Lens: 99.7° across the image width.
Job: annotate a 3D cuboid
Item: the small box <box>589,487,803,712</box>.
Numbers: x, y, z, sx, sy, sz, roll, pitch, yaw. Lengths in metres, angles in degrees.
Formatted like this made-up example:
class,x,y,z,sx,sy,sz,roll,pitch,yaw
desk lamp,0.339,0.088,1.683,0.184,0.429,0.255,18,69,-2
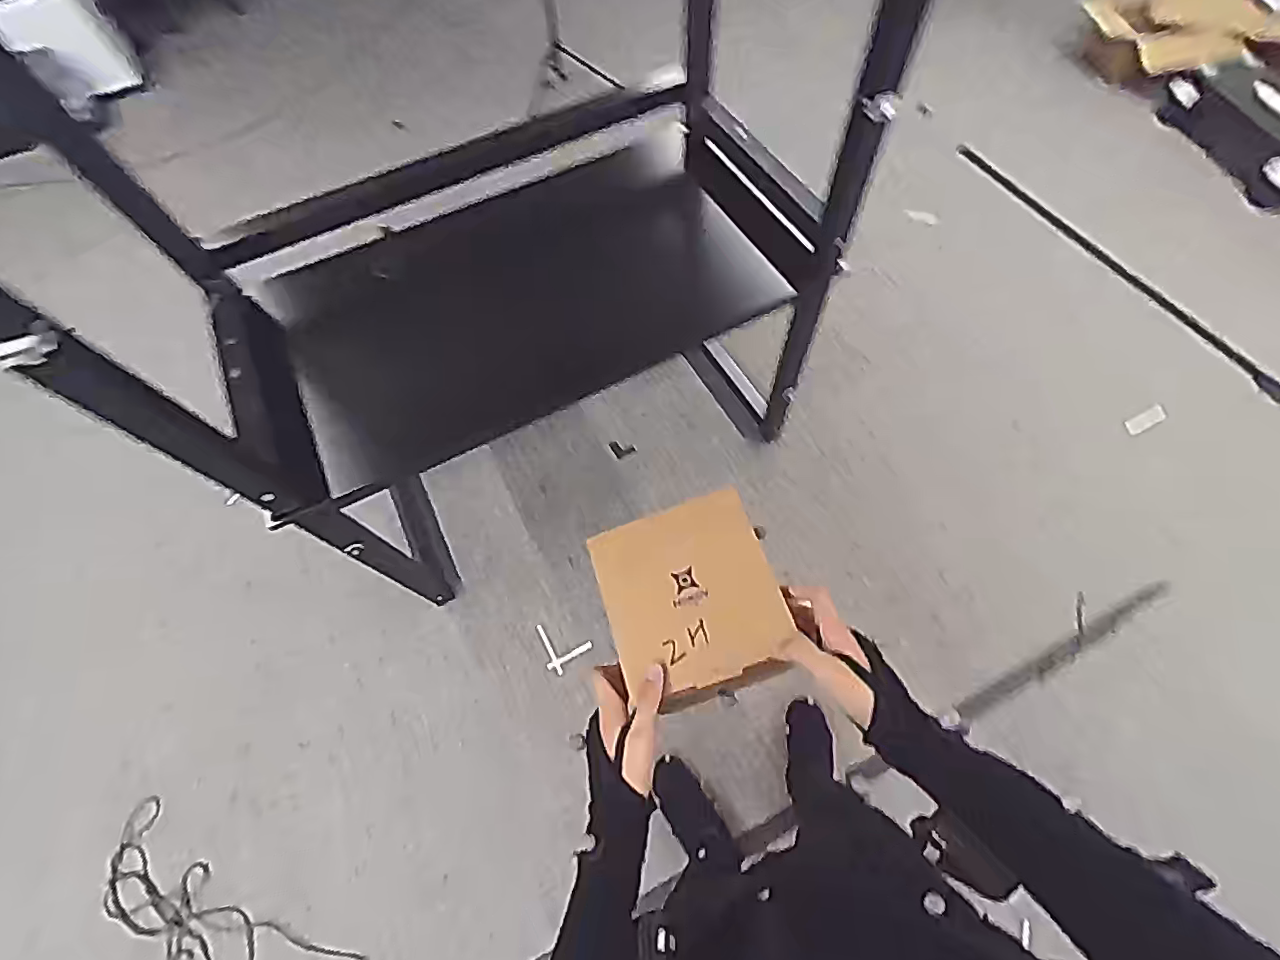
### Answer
class,x,y,z,sx,sy,sz,roll,pitch,yaw
small box,0.060,0.138,0.590,0.168,0.176,0.179,-20,63,2
